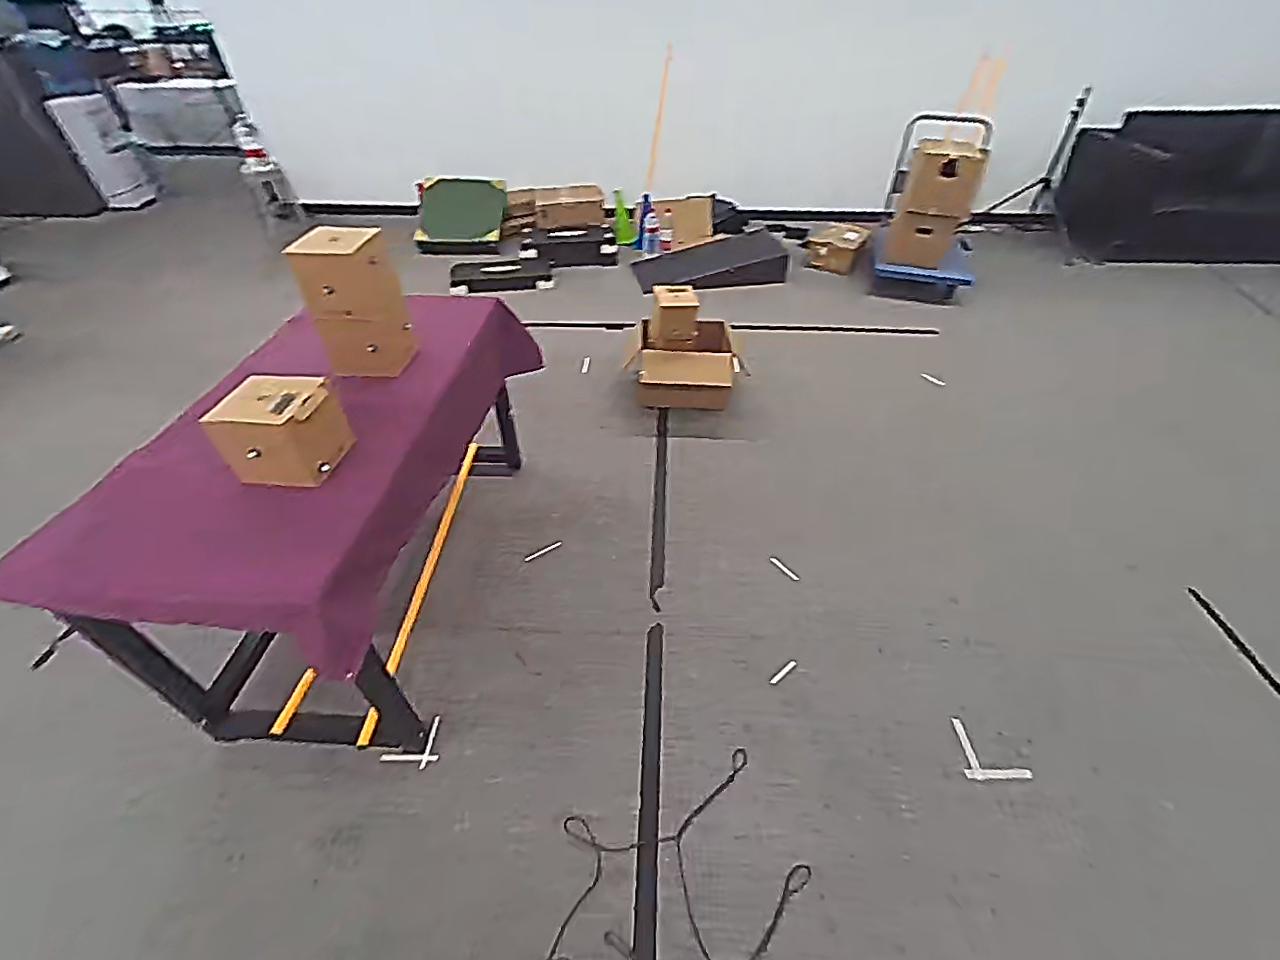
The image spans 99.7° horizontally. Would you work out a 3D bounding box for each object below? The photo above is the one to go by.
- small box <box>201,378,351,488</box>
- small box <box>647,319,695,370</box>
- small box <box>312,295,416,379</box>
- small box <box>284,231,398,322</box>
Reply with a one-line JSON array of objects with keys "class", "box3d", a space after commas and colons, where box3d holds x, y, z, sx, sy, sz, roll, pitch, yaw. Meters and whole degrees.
[{"class": "small box", "box3d": [-0.756, -0.098, 1.150, 0.179, 0.176, 0.168, 3, 43, 5]}, {"class": "small box", "box3d": [0.139, -0.628, 2.524, 0.179, 0.176, 0.168, -11, 48, -16]}, {"class": "small box", "box3d": [-0.732, -0.386, 1.461, 0.179, 0.176, 0.168, 1, 43, 2]}, {"class": "small box", "box3d": [-0.732, -0.507, 1.350, 0.168, 0.176, 0.179, 3, 42, 2]}]
